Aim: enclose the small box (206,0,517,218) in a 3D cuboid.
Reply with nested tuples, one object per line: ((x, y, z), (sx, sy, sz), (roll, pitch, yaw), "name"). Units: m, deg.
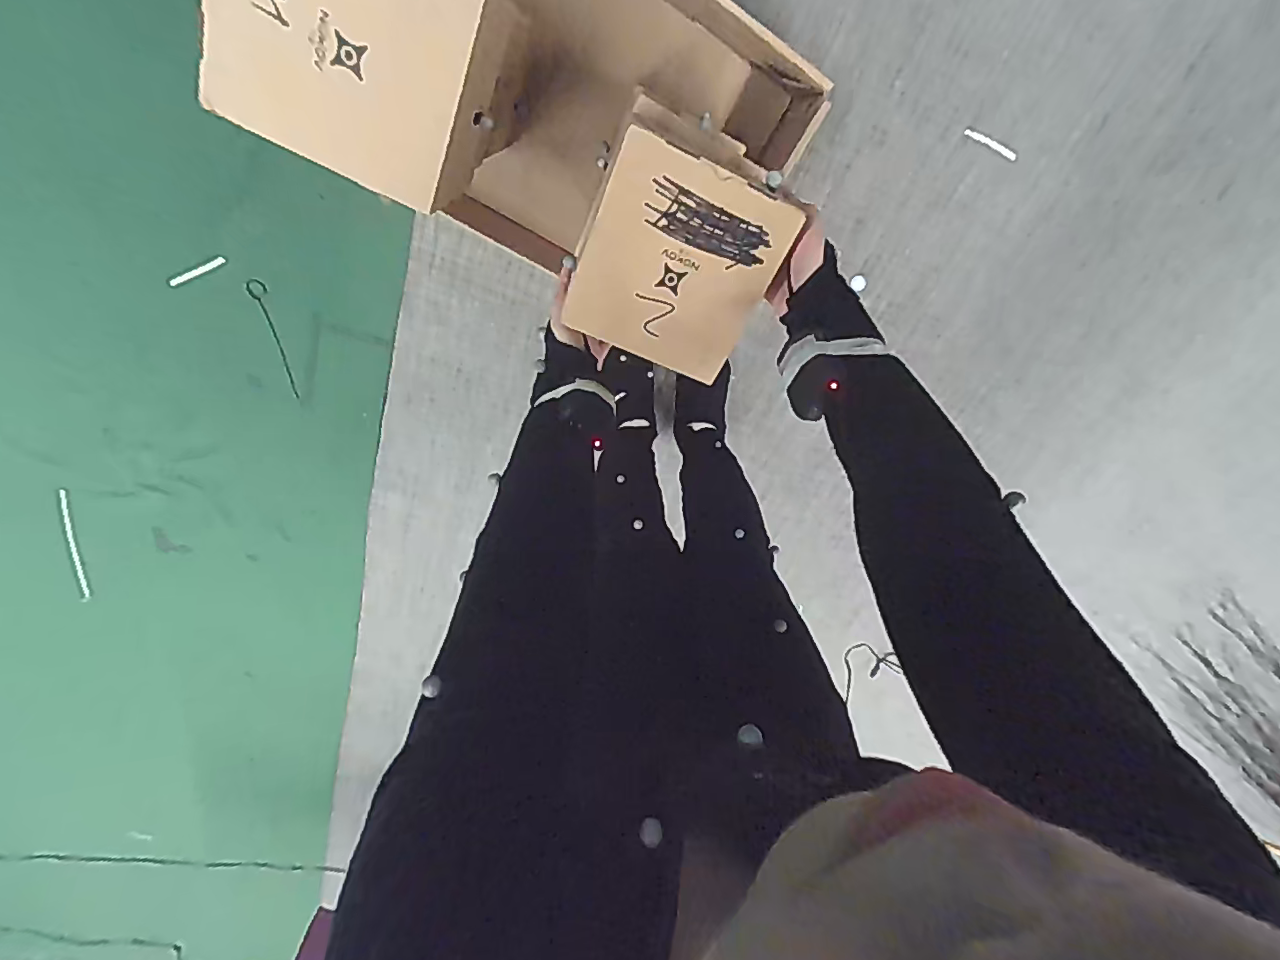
((-0.218, -0.358, 0.458), (0.179, 0.176, 0.168), (22, 121, -18), "small box")

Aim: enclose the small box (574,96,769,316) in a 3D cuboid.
((0.032, -0.342, 0.678), (0.168, 0.176, 0.179), (22, 120, -17), "small box")
